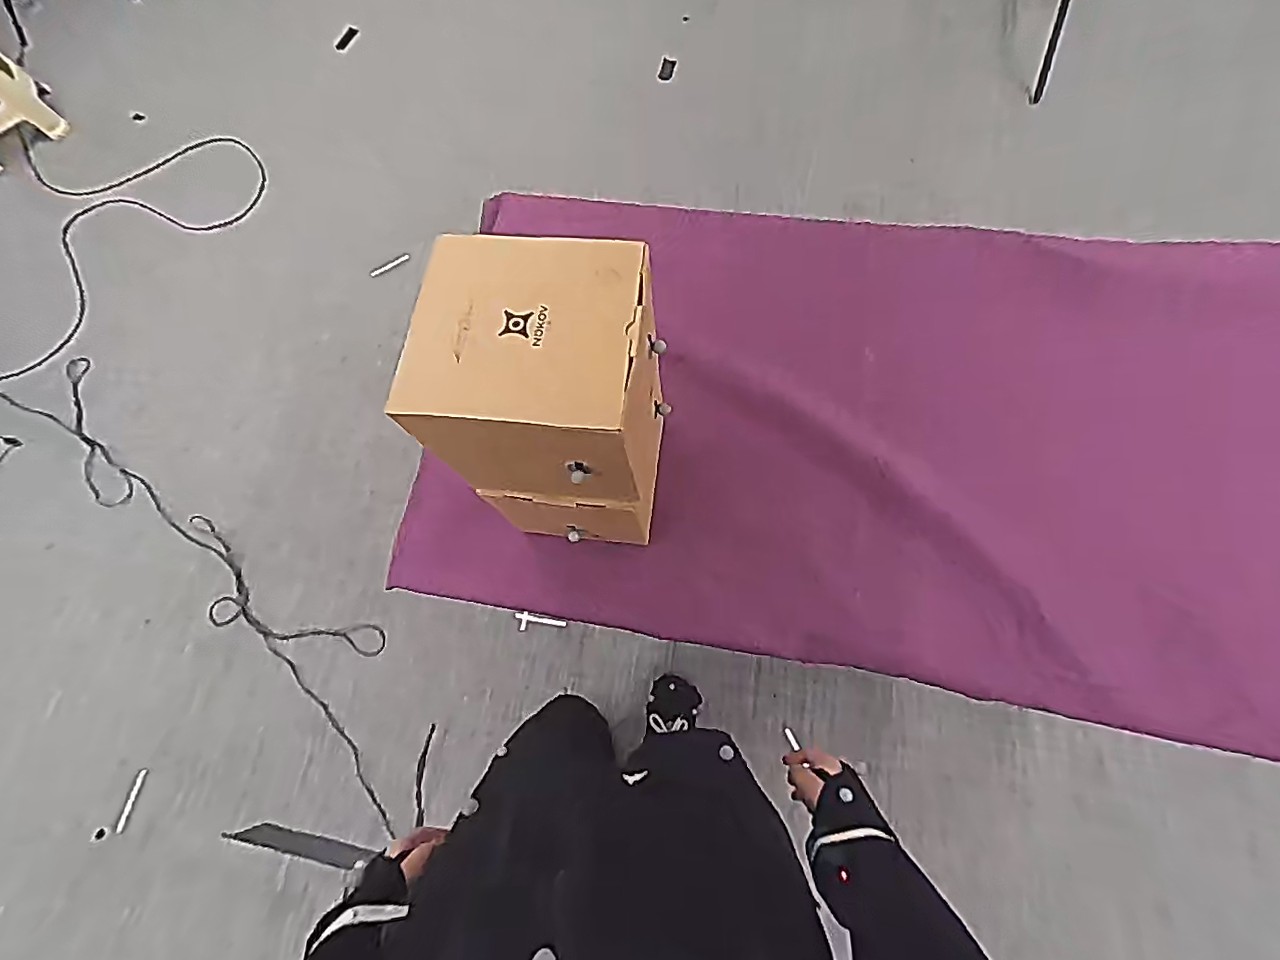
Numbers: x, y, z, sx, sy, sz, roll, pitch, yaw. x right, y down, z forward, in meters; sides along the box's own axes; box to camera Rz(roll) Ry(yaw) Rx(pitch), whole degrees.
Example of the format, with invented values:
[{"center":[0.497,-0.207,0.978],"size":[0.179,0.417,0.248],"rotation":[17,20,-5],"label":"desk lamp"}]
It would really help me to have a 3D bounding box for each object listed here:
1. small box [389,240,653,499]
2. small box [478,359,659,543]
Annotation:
[{"center":[-0.084,-0.087,0.487],"size":[0.179,0.176,0.168],"rotation":[4,70,7],"label":"small box"},{"center":[-0.069,-0.035,0.640],"size":[0.168,0.176,0.179],"rotation":[5,72,7],"label":"small box"}]
